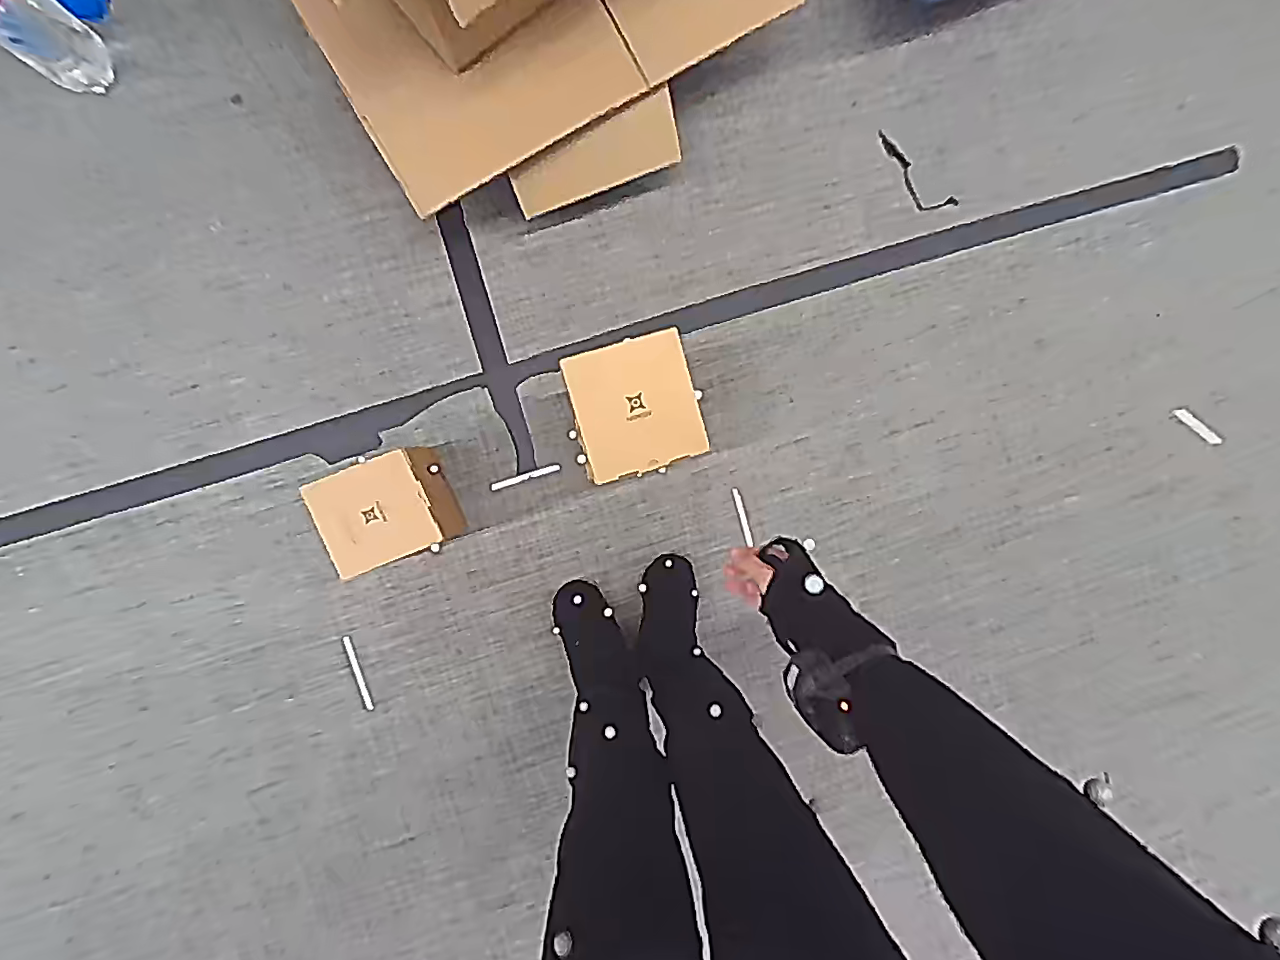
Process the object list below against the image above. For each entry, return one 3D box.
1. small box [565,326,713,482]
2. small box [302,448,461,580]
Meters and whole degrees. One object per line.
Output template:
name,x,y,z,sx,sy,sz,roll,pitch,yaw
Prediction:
small box,-0.010,-0.105,0.798,0.168,0.176,0.179,-17,96,-5
small box,-0.427,0.048,0.934,0.179,0.176,0.168,-23,95,-2
